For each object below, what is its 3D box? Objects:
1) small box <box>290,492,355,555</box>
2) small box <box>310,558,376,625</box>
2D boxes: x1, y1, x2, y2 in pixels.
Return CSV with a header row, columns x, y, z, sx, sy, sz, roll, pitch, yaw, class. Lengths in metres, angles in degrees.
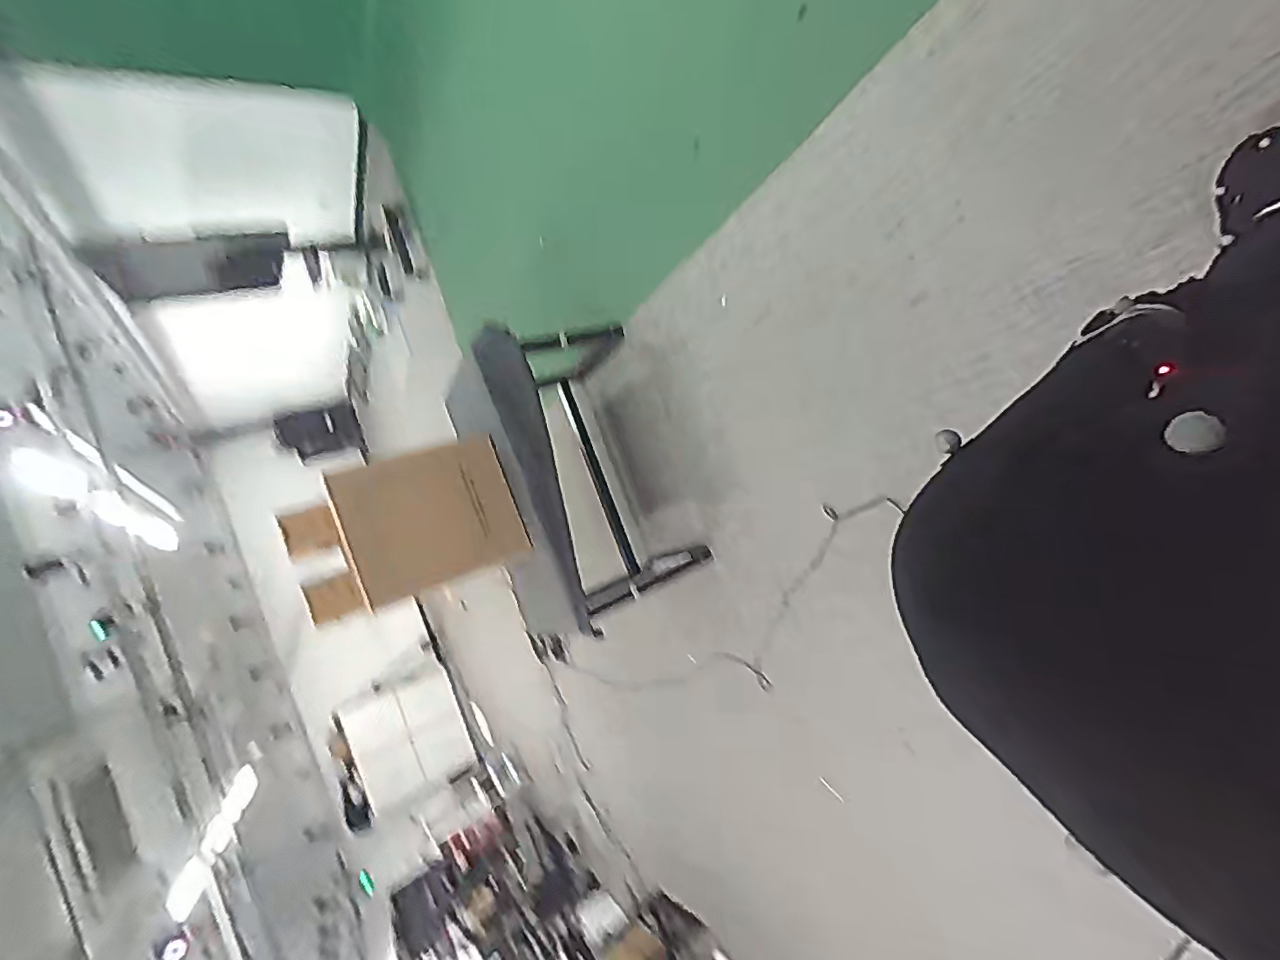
x,y,z,sx,sy,sz,roll,pitch,yaw,class
-1.175,0.161,2.009,0.179,0.176,0.168,-33,78,56,small box
-1.073,0.404,1.963,0.168,0.176,0.179,63,145,11,small box
